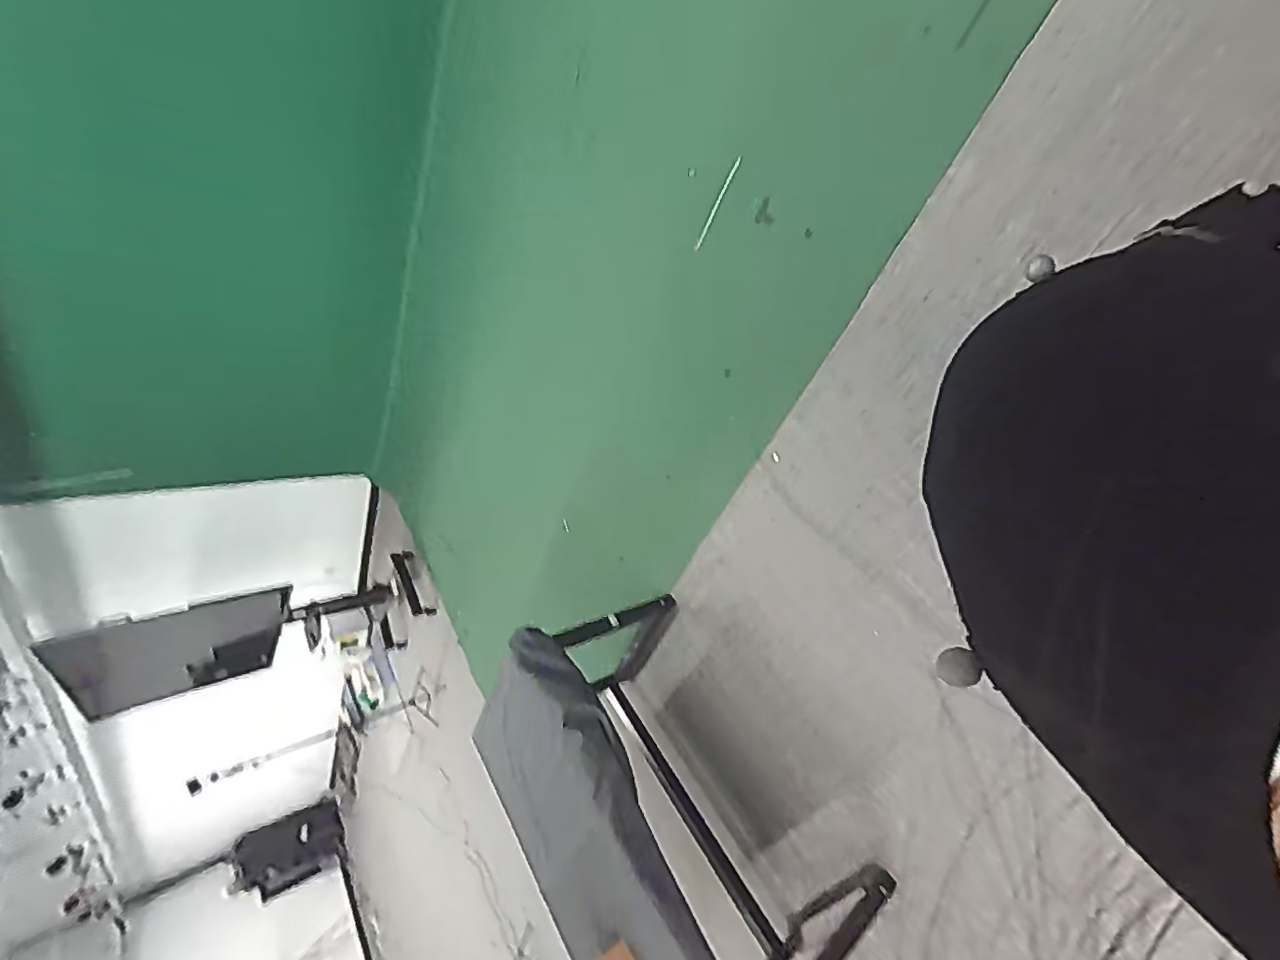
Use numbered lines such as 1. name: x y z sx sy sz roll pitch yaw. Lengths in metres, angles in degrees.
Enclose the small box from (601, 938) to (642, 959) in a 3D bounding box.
1. small box: -0.068 1.329 1.379 0.168 0.176 0.179 46 129 34
